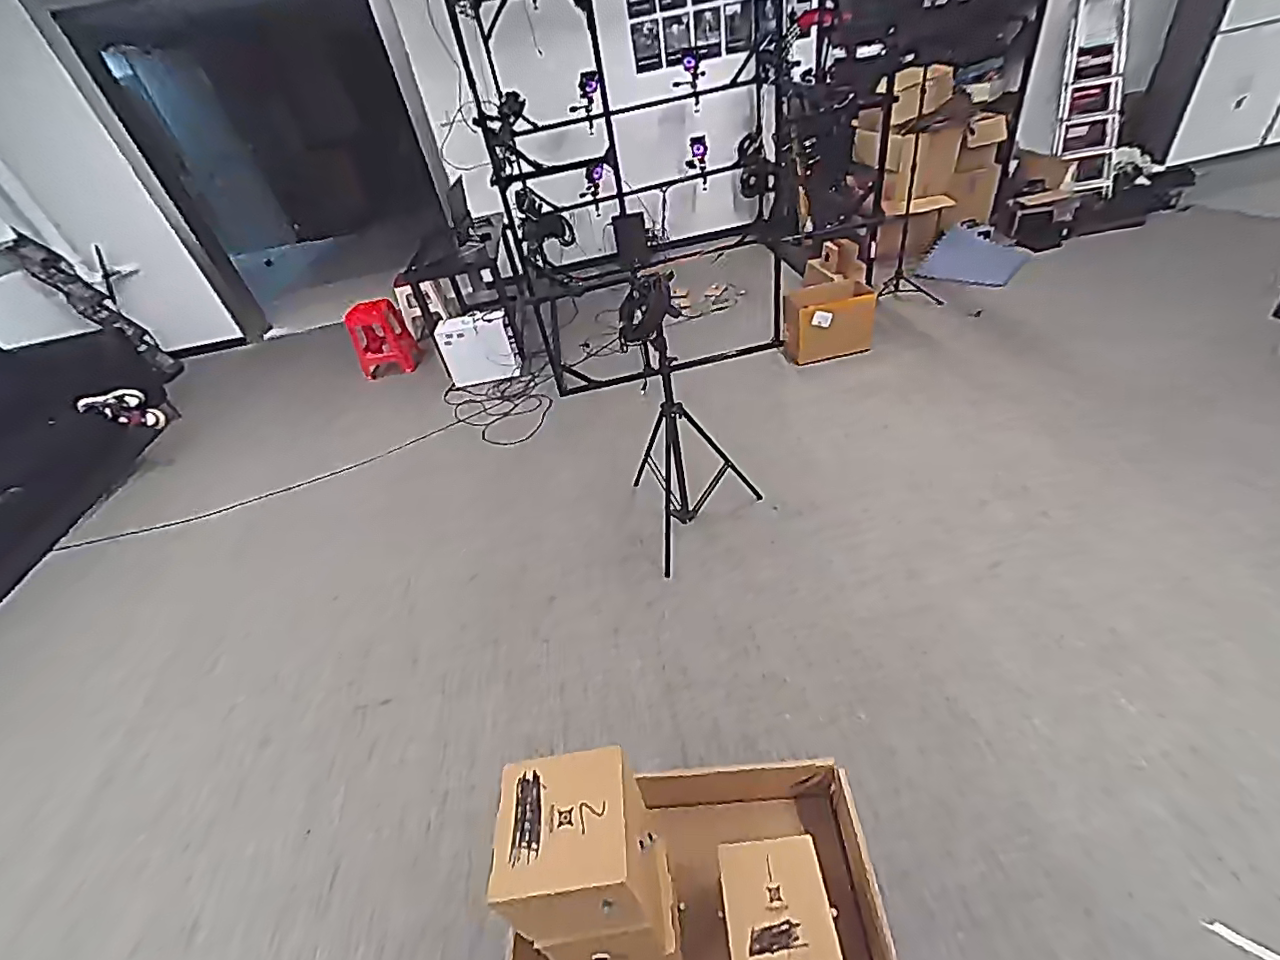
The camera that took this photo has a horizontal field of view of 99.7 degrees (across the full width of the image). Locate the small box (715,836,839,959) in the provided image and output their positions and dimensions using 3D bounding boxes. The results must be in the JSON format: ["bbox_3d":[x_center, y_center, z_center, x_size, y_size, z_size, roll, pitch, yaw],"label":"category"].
[{"bbox_3d":[0.227,0.736,0.913,0.168,0.176,0.179,-9,38,4],"label":"small box"}]

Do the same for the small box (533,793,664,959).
[{"bbox_3d":[-0.061,0.632,0.854,0.168,0.176,0.179,-11,38,2],"label":"small box"}]

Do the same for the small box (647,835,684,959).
[{"bbox_3d":[-0.025,0.757,0.953,0.179,0.176,0.168,-9,39,3],"label":"small box"}]
